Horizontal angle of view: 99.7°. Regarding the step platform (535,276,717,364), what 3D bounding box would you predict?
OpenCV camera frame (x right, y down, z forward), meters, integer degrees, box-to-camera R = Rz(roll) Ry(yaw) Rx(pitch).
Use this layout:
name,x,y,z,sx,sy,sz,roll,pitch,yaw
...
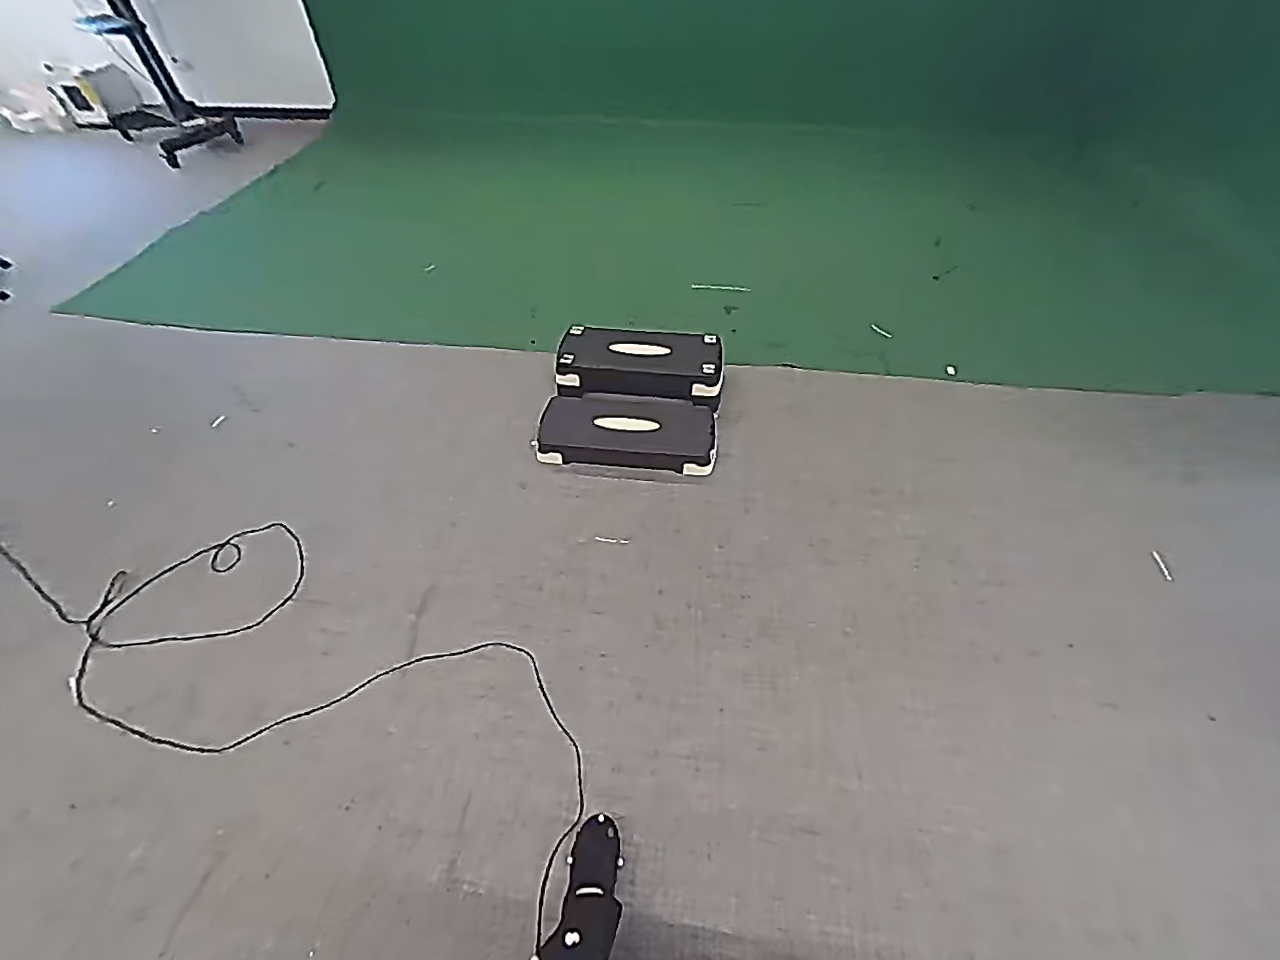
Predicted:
name,x,y,z,sx,sy,sz,roll,pitch,yaw
step platform,-0.049,-0.624,2.106,0.684,0.204,0.286,4,50,5
